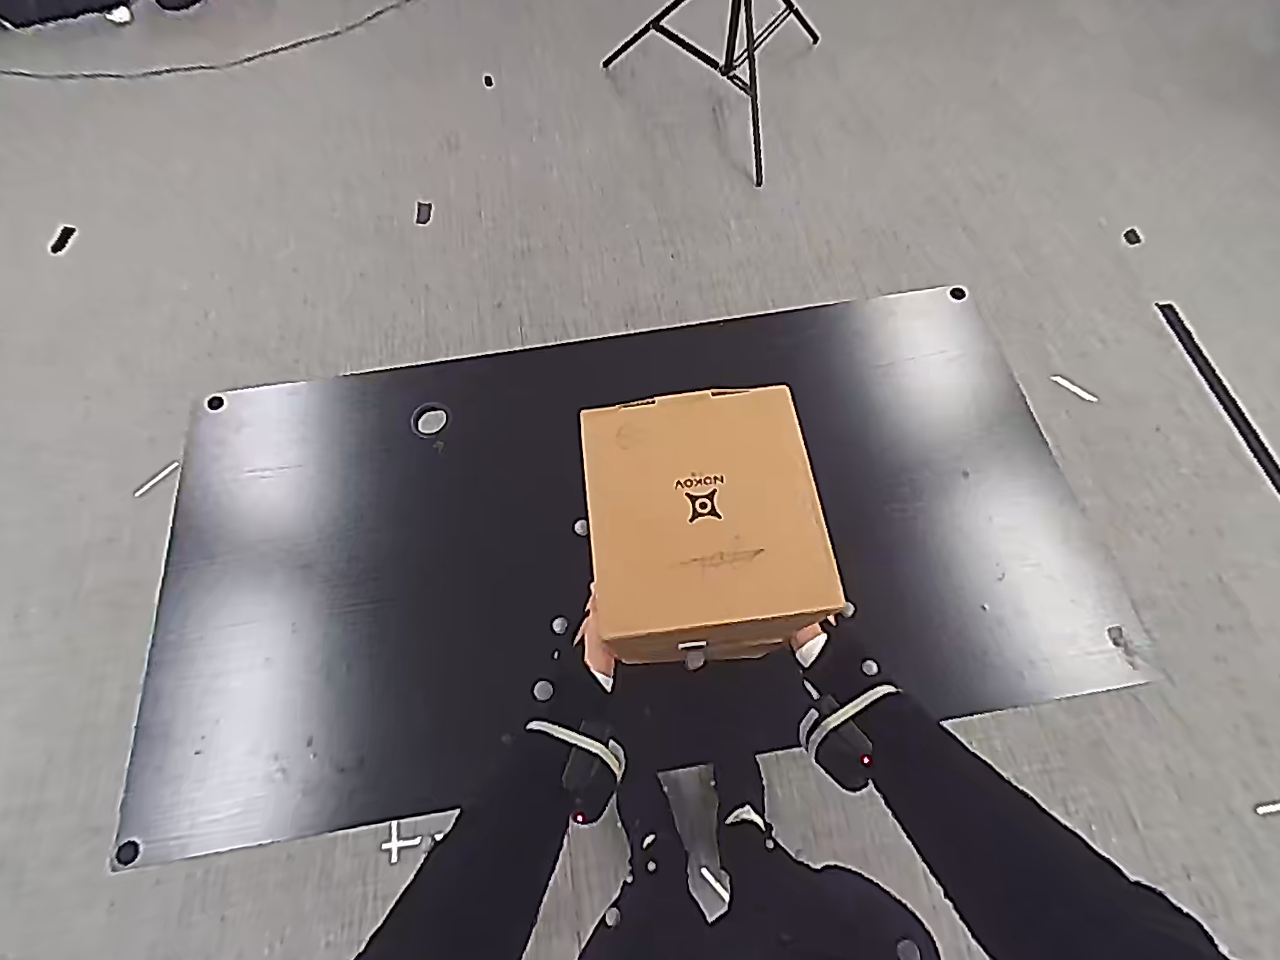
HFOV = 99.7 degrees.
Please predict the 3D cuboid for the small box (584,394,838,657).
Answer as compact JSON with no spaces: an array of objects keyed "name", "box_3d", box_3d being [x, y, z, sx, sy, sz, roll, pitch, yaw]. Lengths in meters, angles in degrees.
[{"name":"small box","box_3d":[0.047,0.049,0.471,0.168,0.176,0.179,-8,69,0]}]
